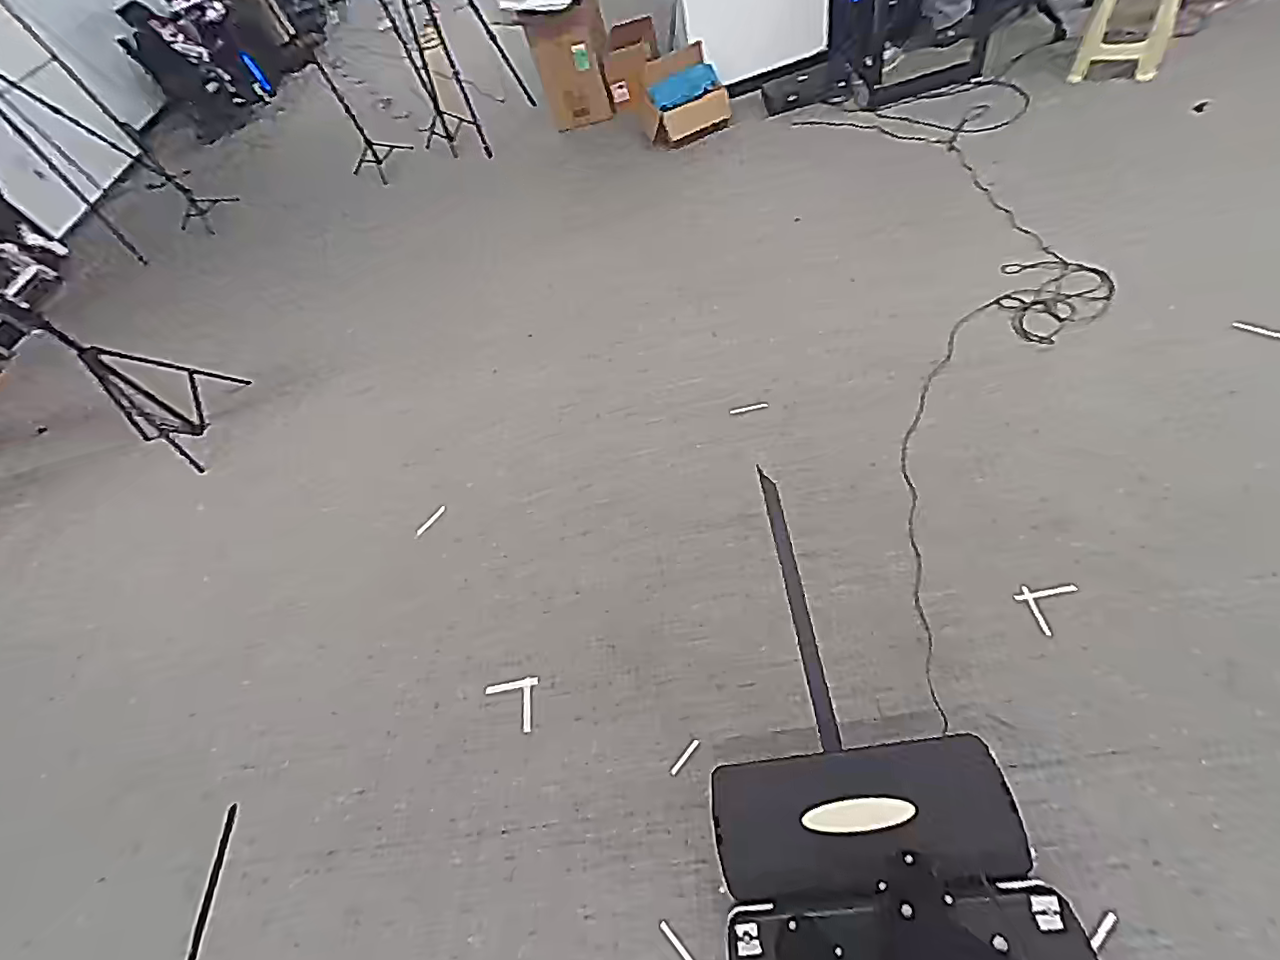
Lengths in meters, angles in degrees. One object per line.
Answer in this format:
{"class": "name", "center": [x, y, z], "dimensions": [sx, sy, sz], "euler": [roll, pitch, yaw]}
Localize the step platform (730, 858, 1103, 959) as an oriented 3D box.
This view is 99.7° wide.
{"class": "step platform", "center": [0.530, 0.969, 1.086], "dimensions": [0.684, 0.204, 0.286], "euler": [-14, 54, 9]}
